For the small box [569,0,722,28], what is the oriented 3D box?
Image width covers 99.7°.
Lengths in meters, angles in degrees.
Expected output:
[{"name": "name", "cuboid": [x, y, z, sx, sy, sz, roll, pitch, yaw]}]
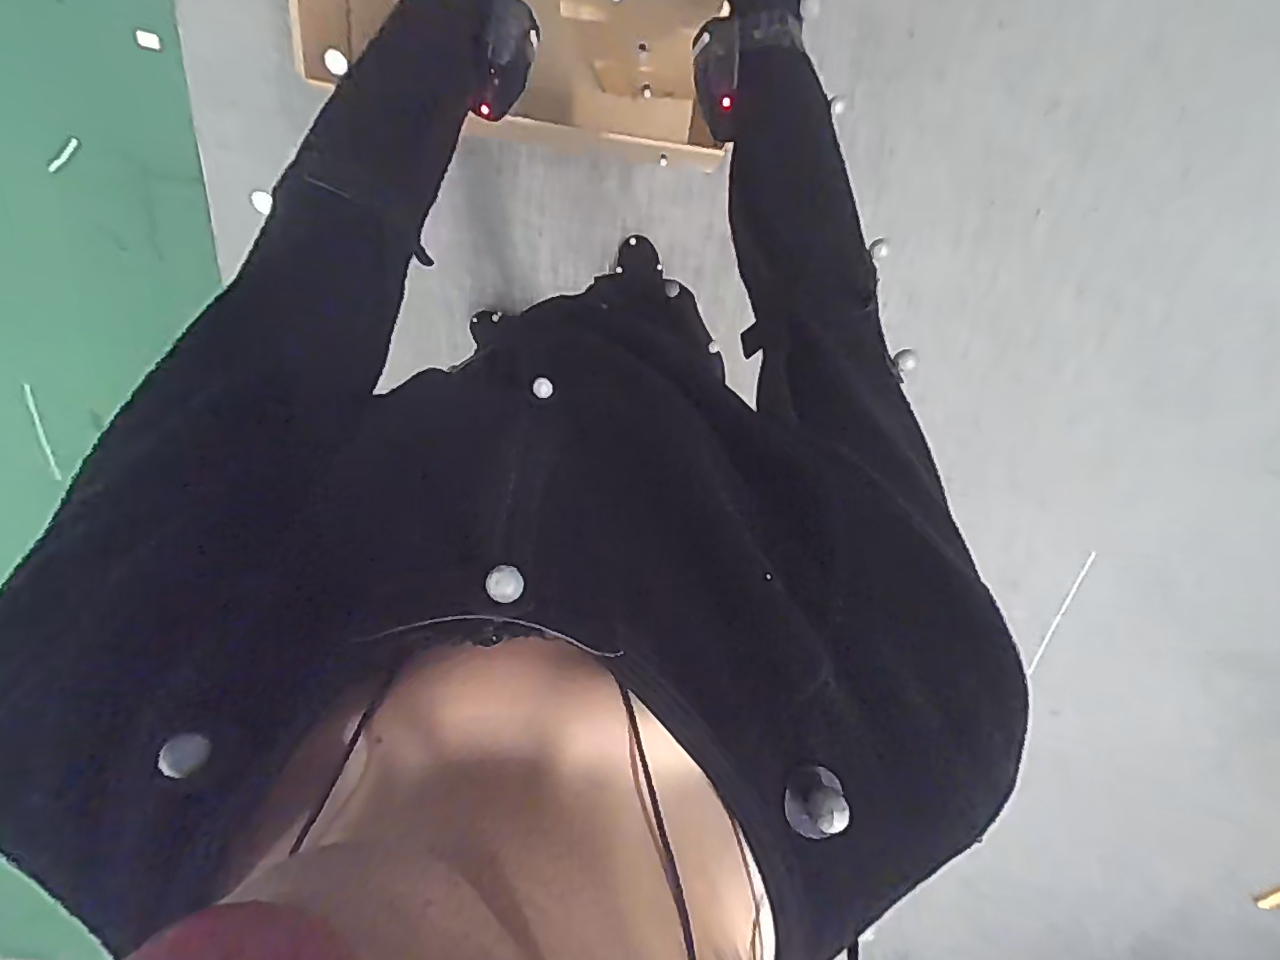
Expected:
[{"name": "small box", "cuboid": [0.005, -0.507, 0.443, 0.179, 0.176, 0.168, 12, 116, -1]}]
